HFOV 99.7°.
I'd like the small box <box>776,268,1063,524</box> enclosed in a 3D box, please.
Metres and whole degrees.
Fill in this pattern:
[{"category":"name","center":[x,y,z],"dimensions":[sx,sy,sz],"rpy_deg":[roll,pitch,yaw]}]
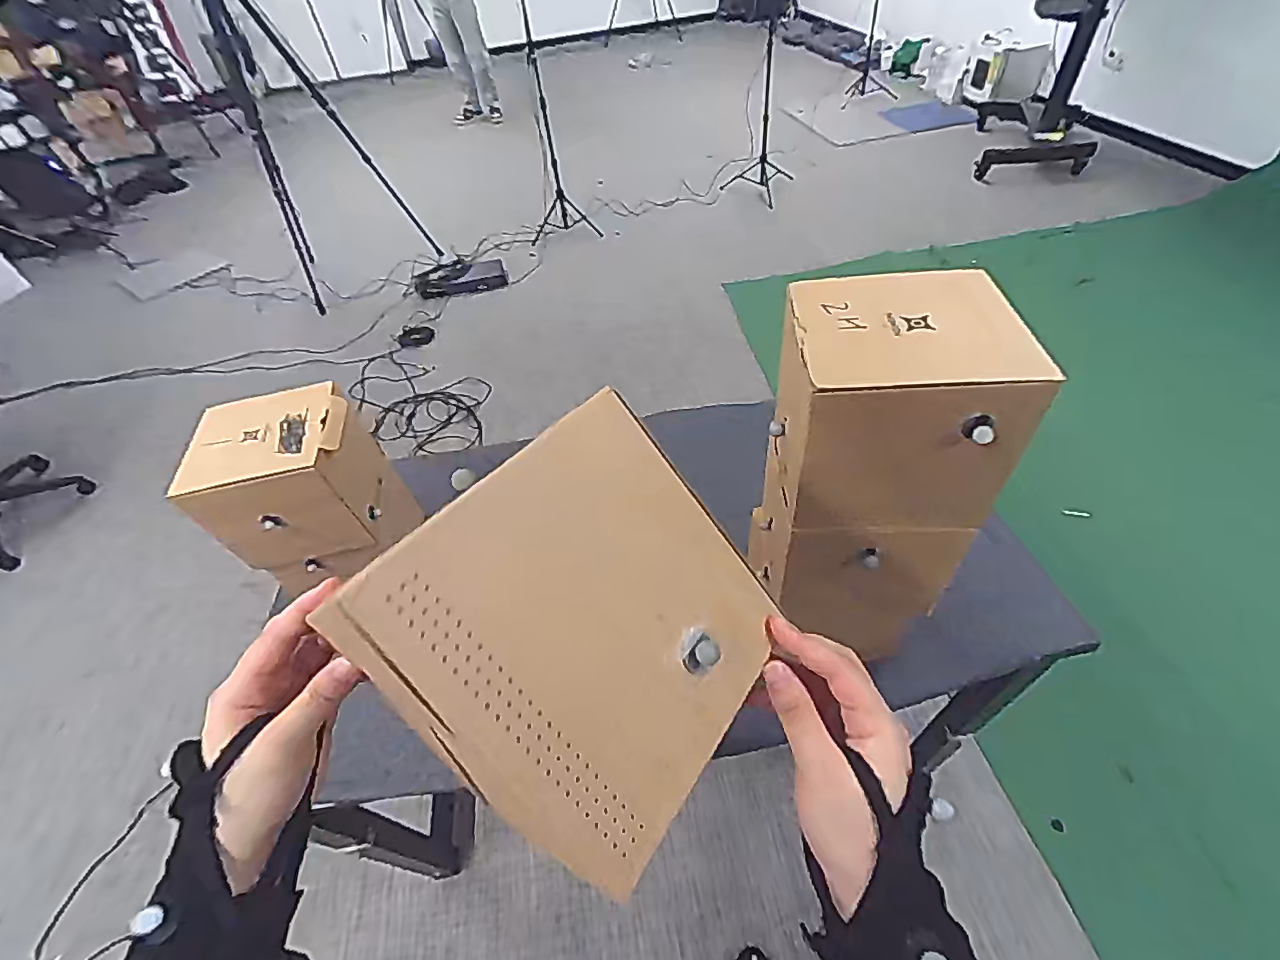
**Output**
[{"category":"small box","center":[0.226,-0.071,0.499],"dimensions":[0.179,0.176,0.168],"rpy_deg":[-2,47,8]}]

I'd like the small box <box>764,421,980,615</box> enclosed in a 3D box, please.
[{"category":"small box","center":[0.242,0.042,0.617],"dimensions":[0.179,0.176,0.168],"rpy_deg":[-3,47,7]}]

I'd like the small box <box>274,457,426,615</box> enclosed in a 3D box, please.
[{"category":"small box","center":[-0.464,0.093,0.886],"dimensions":[0.168,0.176,0.179],"rpy_deg":[-13,49,-5]}]

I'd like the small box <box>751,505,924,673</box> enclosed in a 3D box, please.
[{"category":"small box","center":[0.256,0.140,0.747],"dimensions":[0.168,0.176,0.179],"rpy_deg":[-10,48,0]}]

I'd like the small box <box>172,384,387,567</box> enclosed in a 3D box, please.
[{"category":"small box","center":[-0.475,-0.003,0.751],"dimensions":[0.179,0.176,0.168],"rpy_deg":[-13,50,-4]}]
